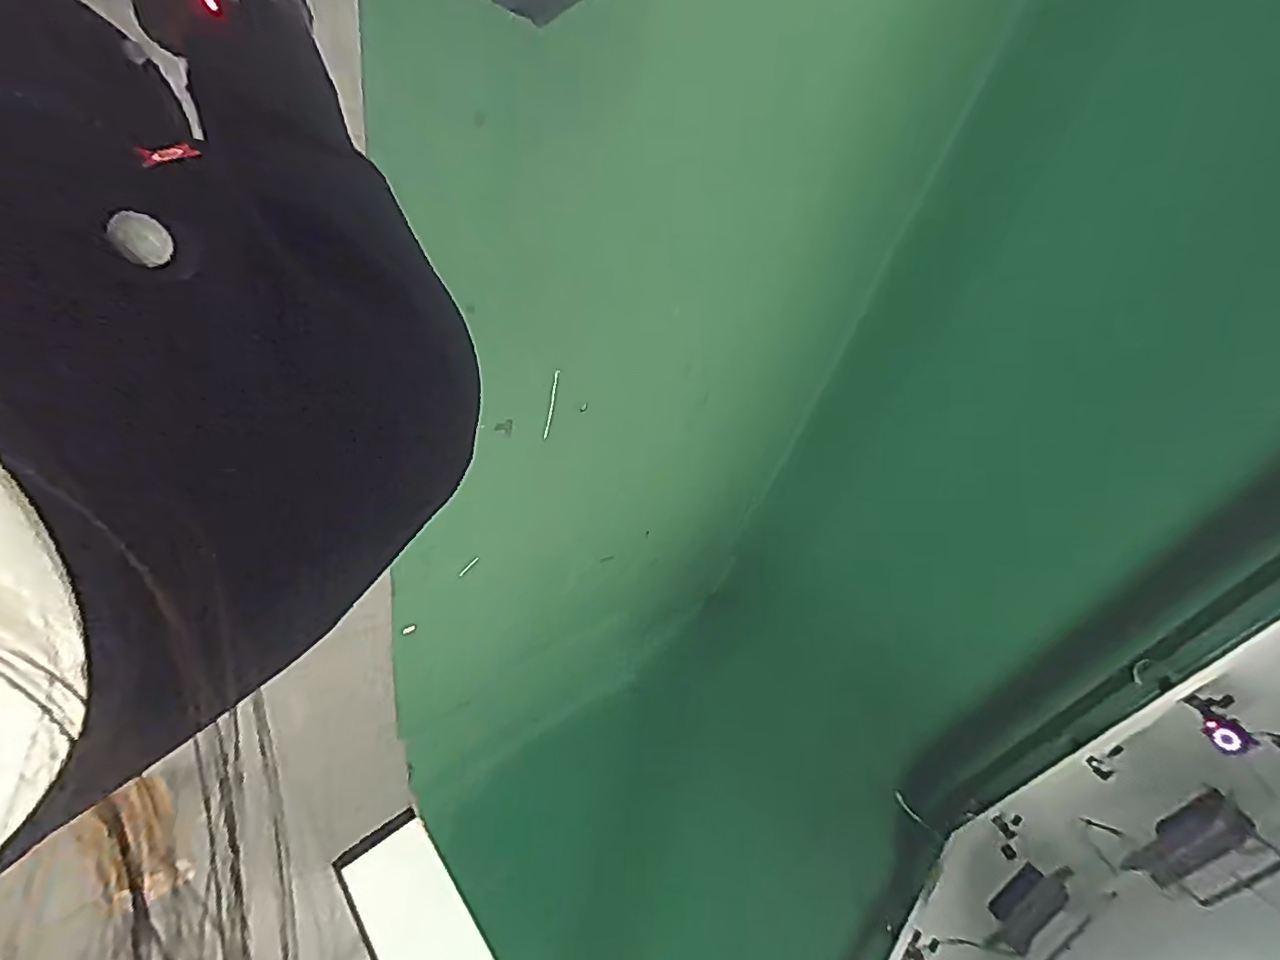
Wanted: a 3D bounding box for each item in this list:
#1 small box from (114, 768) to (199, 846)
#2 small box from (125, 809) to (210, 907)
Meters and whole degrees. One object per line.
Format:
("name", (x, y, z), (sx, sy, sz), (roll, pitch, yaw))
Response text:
("small box", (-1.663, 1.143, 1.858), (0.179, 0.176, 0.168), (-23, 143, -42))
("small box", (-1.555, 1.236, 1.776), (0.179, 0.176, 0.168), (-19, 140, -42))
